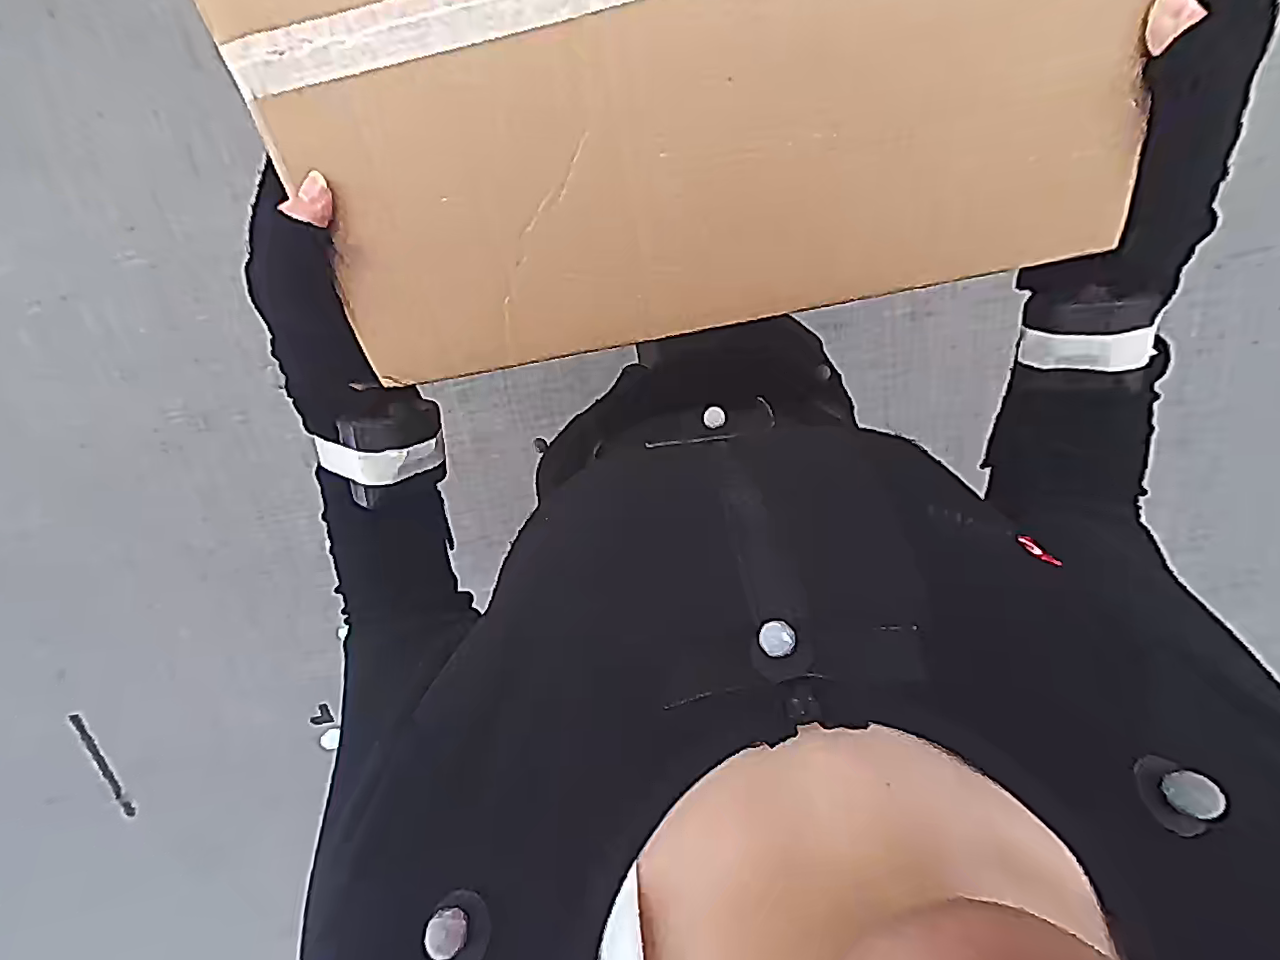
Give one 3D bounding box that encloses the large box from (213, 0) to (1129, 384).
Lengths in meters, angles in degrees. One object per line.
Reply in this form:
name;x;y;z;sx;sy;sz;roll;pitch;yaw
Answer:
large box;0.014;-0.299;0.358;0.408;0.320;0.320;-10;120;7
